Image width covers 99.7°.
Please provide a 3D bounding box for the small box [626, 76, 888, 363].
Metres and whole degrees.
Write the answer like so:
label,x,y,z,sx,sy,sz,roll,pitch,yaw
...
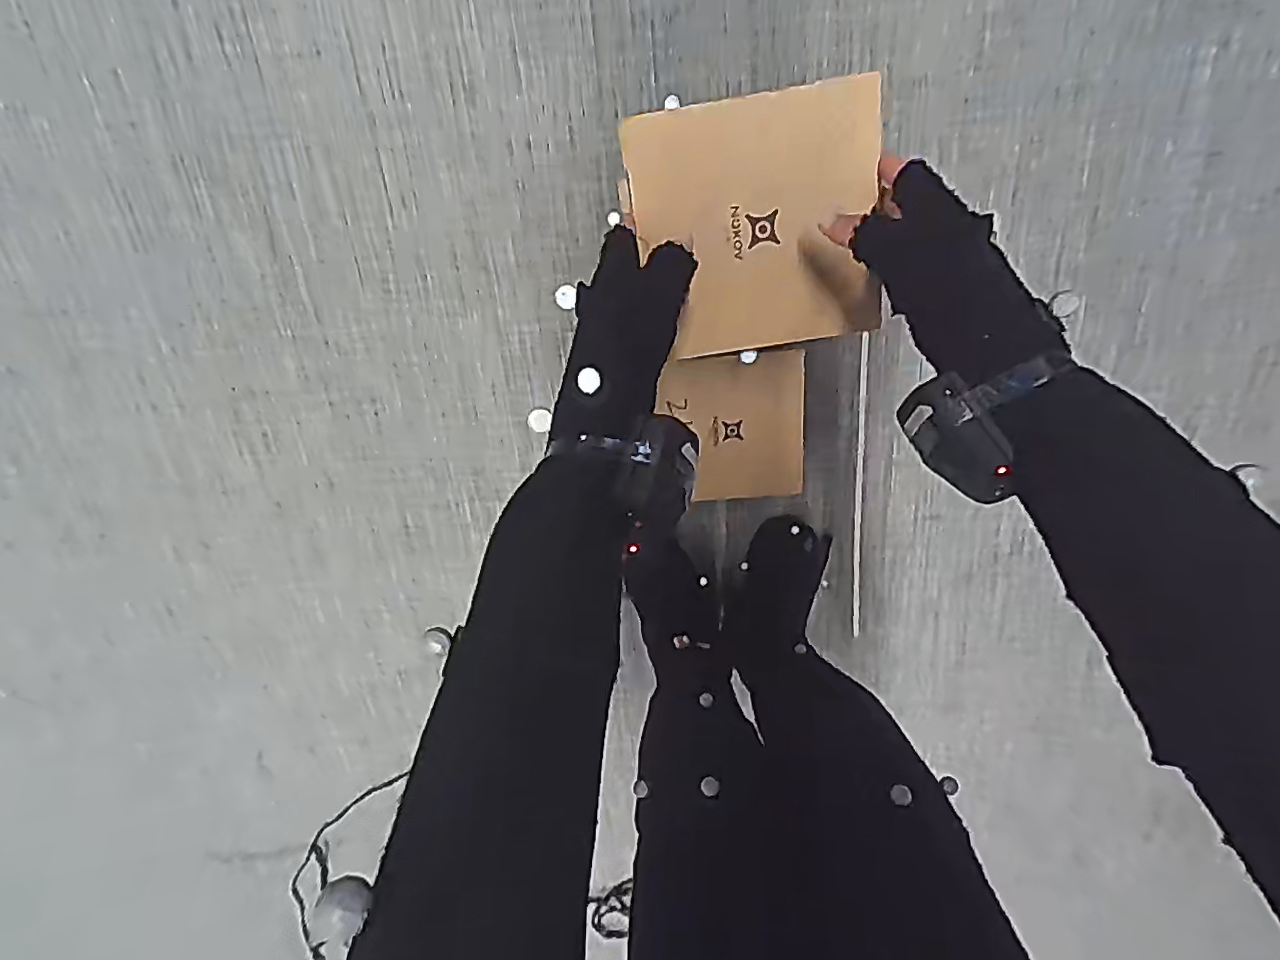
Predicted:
label,x,y,z,sx,sy,sz,roll,pitch,yaw
small box,0.090,-0.205,0.458,0.179,0.176,0.168,-8,110,6
